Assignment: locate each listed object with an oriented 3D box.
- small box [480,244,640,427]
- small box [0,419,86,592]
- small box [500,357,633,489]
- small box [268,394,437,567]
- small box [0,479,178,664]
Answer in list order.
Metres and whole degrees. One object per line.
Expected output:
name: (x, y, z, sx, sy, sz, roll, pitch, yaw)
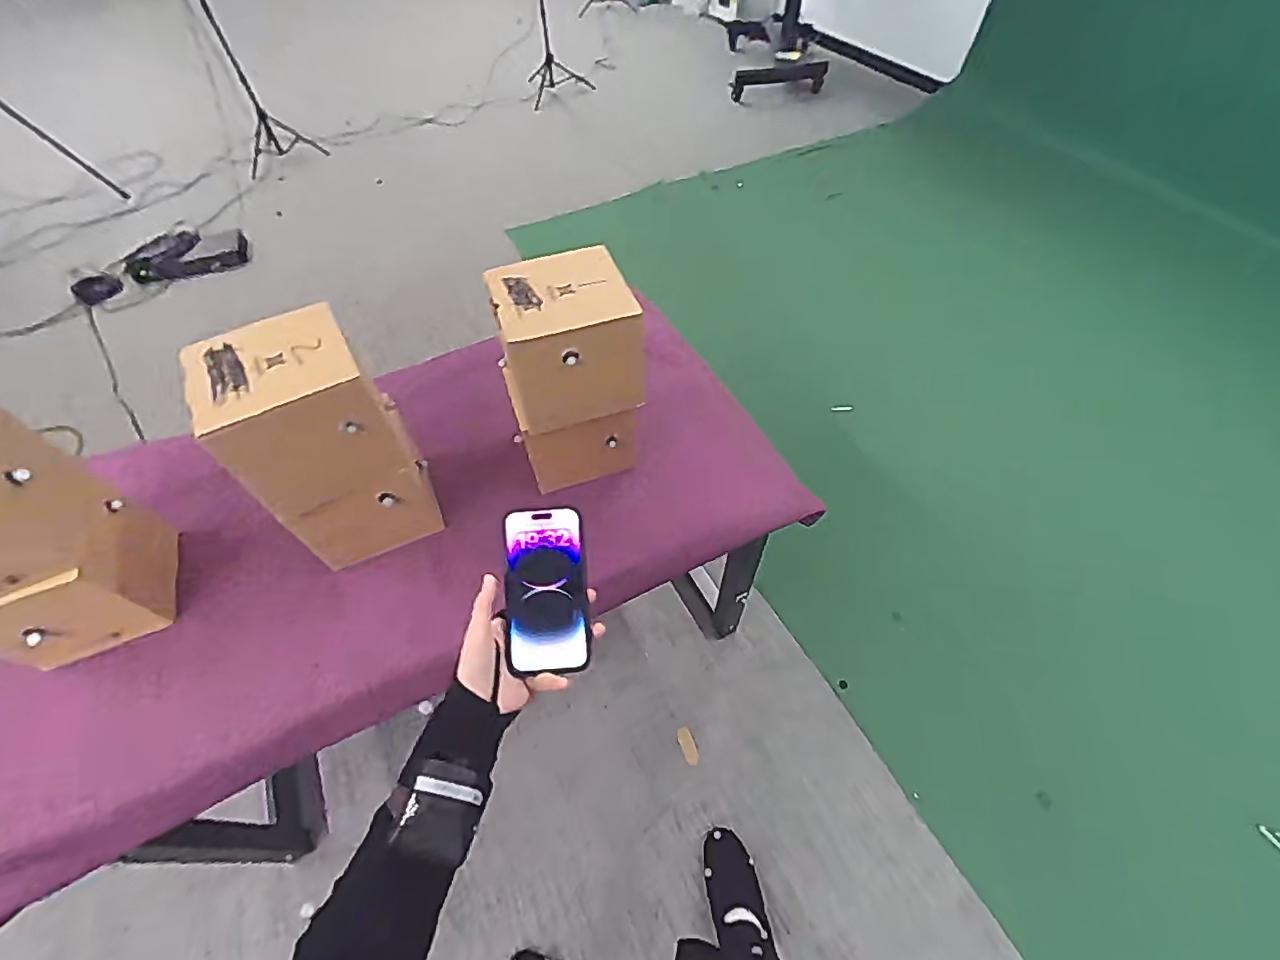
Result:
small box: (-0.107, -0.199, 0.763, 0.179, 0.176, 0.168, -17, 55, -11)
small box: (-0.797, 0.033, 0.621, 0.168, 0.176, 0.179, -26, 58, -17)
small box: (-0.116, -0.111, 0.902, 0.179, 0.176, 0.168, -17, 55, -9)
small box: (-0.428, 0.004, 0.829, 0.179, 0.176, 0.168, -23, 56, -13)
small box: (-0.788, 0.135, 0.749, 0.168, 0.176, 0.179, -22, 56, -13)
